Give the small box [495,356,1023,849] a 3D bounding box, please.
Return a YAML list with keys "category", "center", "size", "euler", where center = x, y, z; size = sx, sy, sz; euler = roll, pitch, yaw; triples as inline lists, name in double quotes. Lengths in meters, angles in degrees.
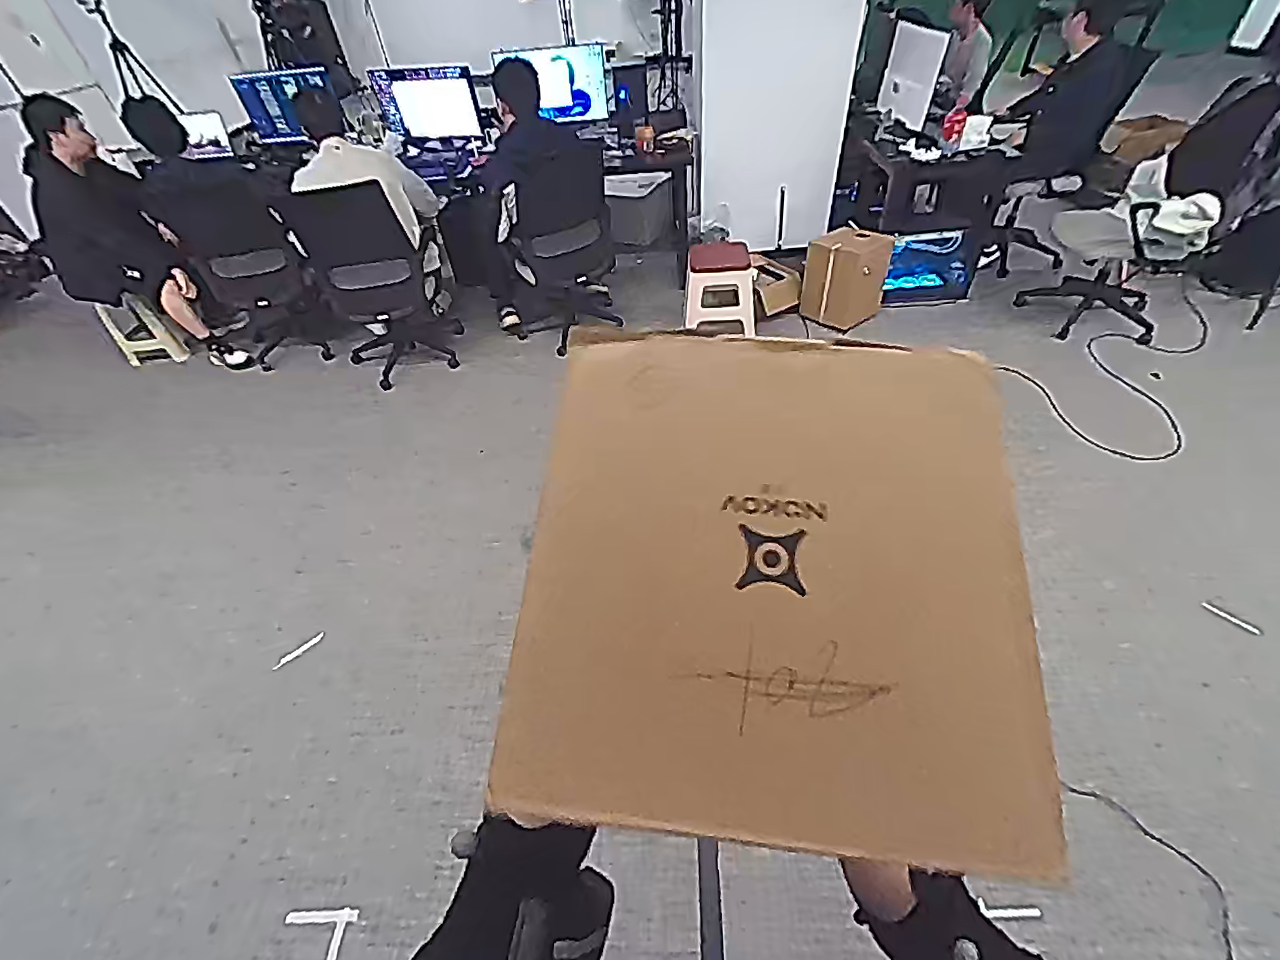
- category: "small box"
  center: [0.042, 0.059, 0.273]
  size: [0.168, 0.176, 0.179]
  euler: [1, 68, 4]
